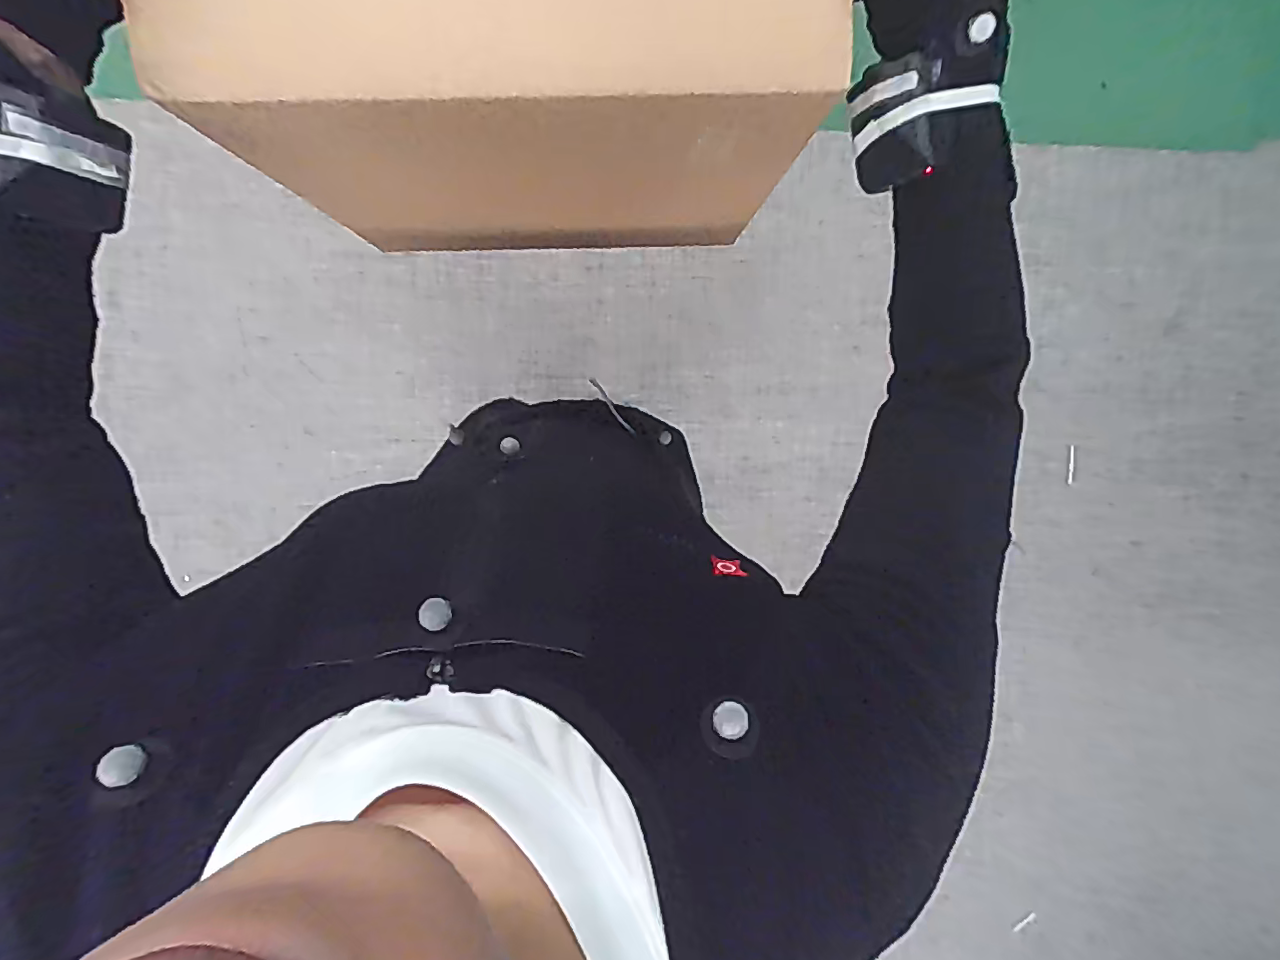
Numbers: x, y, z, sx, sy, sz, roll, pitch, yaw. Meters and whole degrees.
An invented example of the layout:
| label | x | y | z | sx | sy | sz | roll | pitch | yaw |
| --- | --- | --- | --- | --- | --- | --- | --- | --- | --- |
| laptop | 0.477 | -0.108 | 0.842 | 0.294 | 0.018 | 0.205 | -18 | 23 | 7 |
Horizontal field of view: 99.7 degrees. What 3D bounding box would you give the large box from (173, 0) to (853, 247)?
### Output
| label | x | y | z | sx | sy | sz | roll | pitch | yaw |
| --- | --- | --- | --- | --- | --- | --- | --- | --- | --- |
| large box | -0.083 | -0.405 | 0.451 | 0.408 | 0.320 | 0.320 | -3 | 99 | -2 |
